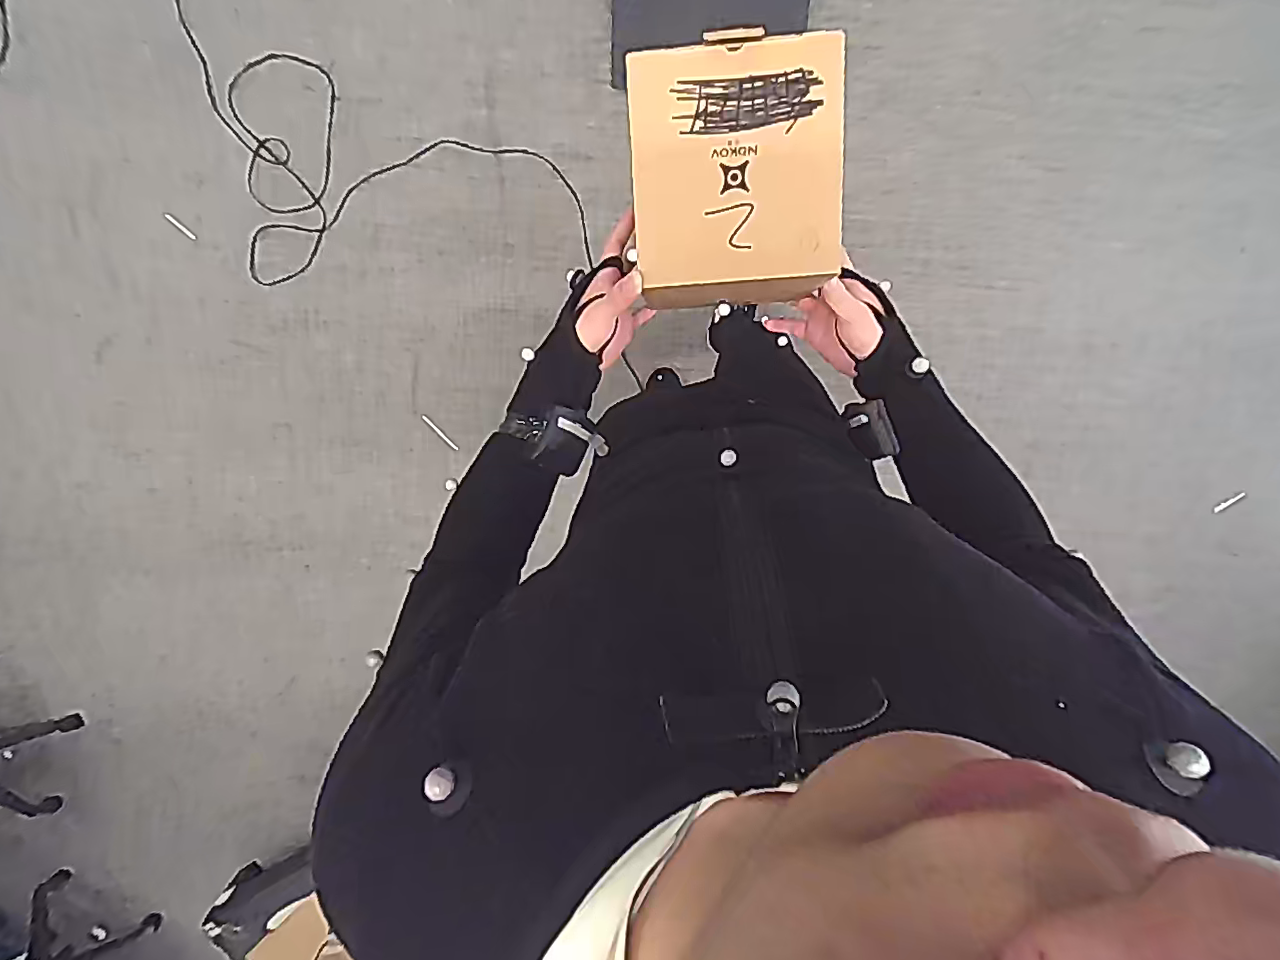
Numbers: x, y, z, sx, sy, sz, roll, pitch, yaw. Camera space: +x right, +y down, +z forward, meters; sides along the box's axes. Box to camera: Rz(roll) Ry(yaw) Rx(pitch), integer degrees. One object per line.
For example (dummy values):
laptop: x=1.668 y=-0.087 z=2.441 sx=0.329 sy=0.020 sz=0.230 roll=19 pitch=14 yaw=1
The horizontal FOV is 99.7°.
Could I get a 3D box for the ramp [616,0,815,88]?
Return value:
ramp: x=0.195 y=-1.473 z=1.194 sx=0.509 sy=0.206 sz=0.991 roll=0 pitch=104 yaw=0
